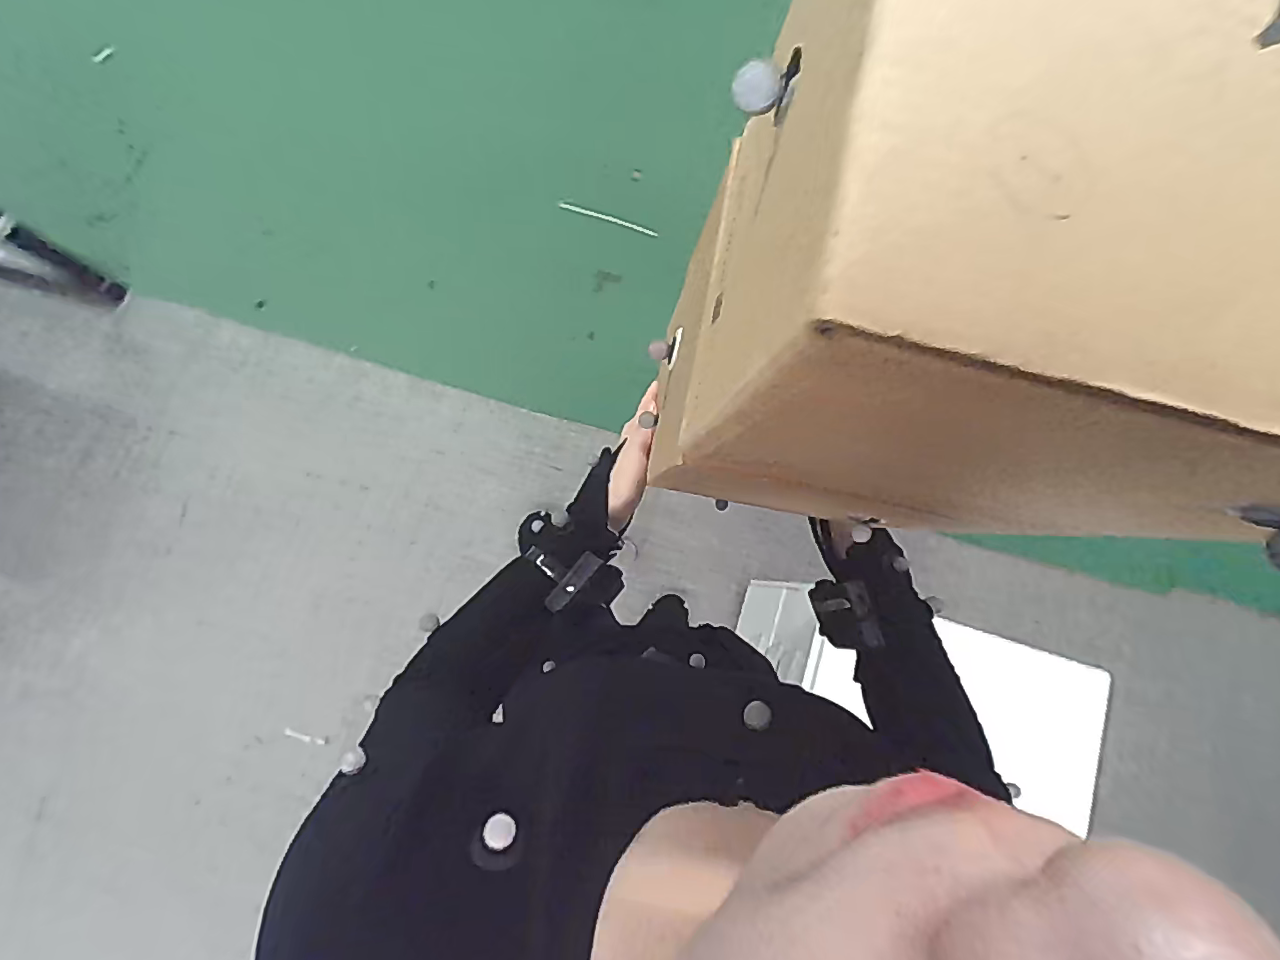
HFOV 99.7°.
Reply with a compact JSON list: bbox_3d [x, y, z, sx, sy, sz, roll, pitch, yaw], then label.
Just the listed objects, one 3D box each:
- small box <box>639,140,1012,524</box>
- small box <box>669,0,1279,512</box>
[{"bbox_3d":[0.102,-0.068,0.342,0.179,0.176,0.168,10,85,-3],"label":"small box"},{"bbox_3d":[0.114,-0.084,0.180,0.179,0.176,0.168,12,85,-4],"label":"small box"}]
